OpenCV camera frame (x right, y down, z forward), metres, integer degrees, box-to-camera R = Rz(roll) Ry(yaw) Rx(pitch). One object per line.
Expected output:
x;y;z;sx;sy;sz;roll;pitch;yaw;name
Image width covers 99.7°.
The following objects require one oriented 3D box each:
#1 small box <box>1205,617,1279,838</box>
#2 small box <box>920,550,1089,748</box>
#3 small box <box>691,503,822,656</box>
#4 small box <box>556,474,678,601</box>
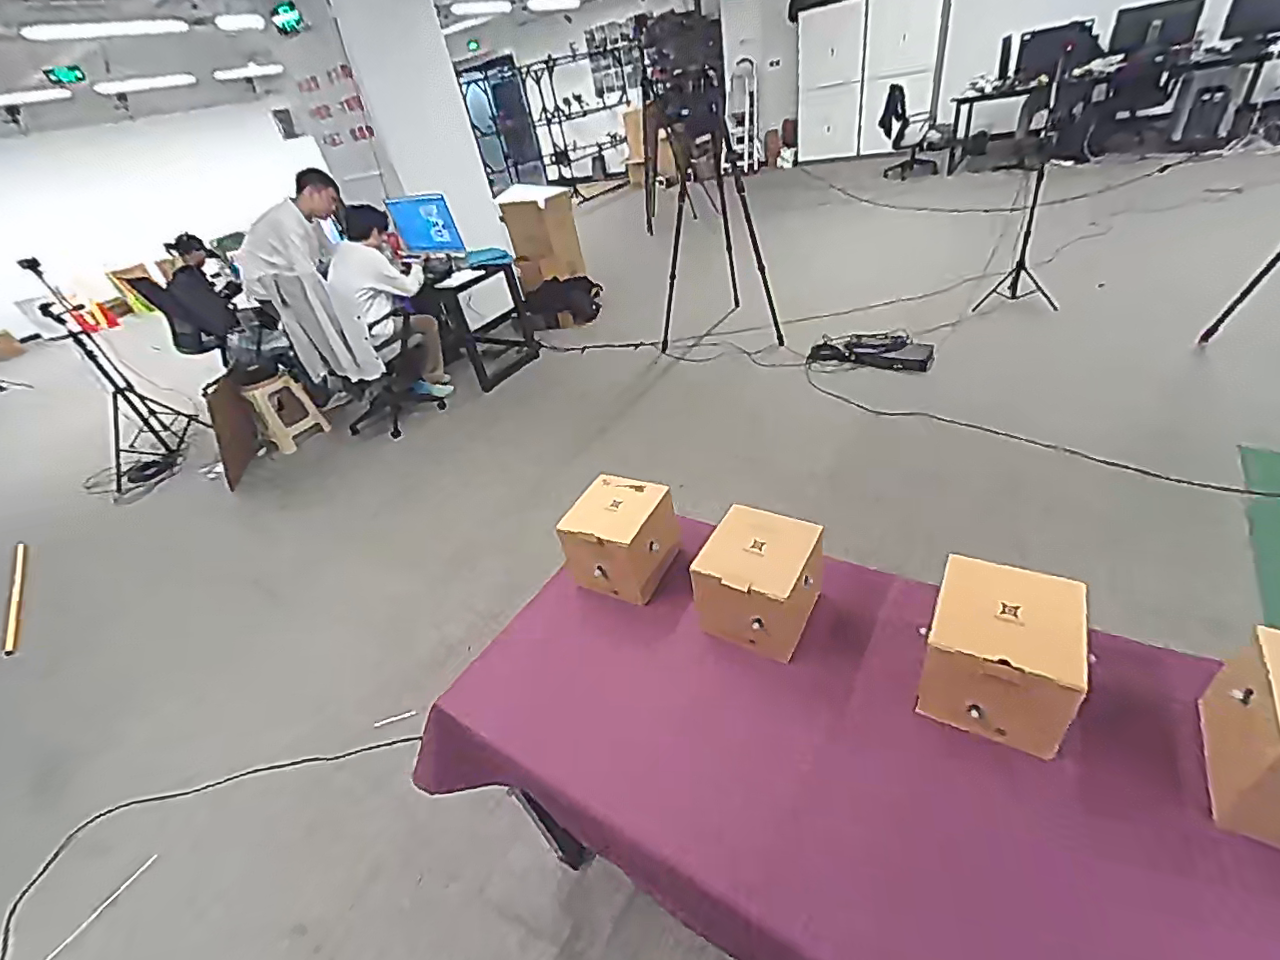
0.766;0.290;0.591;0.168;0.176;0.179;12;44;33;small box
0.504;0.232;0.762;0.168;0.176;0.179;12;44;30;small box
0.209;0.171;0.939;0.168;0.176;0.179;14;44;31;small box
-0.036;0.115;1.090;0.168;0.176;0.179;10;43;28;small box
